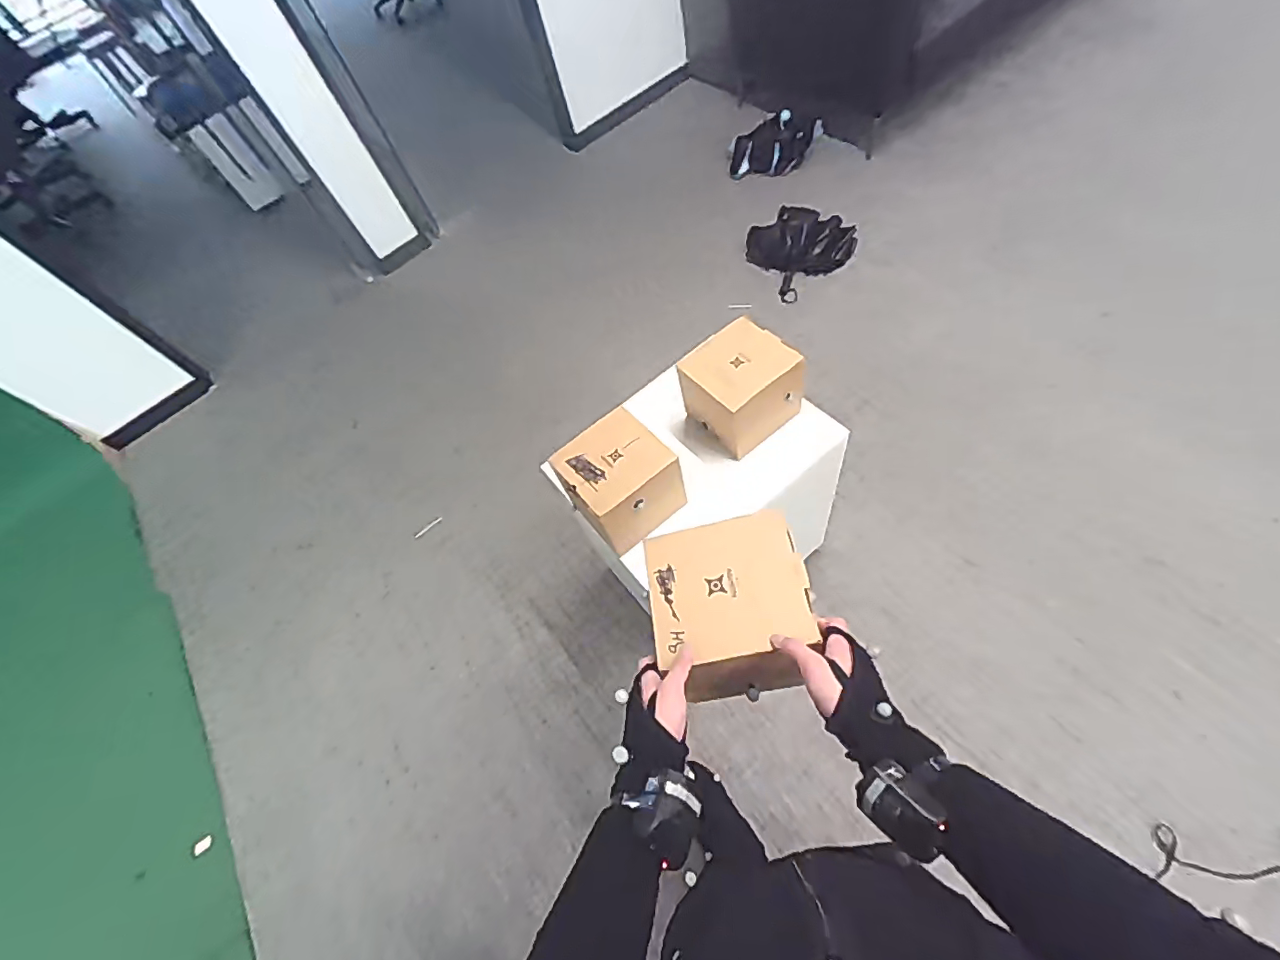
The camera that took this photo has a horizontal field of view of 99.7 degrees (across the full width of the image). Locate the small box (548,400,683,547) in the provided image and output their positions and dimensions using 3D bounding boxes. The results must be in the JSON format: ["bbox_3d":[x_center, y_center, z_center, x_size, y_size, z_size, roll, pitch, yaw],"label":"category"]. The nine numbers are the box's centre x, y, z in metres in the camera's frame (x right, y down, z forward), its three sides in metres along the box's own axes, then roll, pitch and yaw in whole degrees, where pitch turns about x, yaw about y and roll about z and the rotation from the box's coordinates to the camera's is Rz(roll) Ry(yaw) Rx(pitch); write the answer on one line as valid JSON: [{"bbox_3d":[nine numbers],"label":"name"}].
[{"bbox_3d":[-0.036,-0.006,0.995,0.179,0.176,0.168,-37,61,-13],"label":"small box"}]

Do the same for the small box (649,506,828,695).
[{"bbox_3d":[0.117,0.156,0.668,0.179,0.176,0.168,-12,55,8],"label":"small box"}]

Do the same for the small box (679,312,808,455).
[{"bbox_3d":[0.198,-0.184,1.054,0.179,0.176,0.168,-37,60,-9],"label":"small box"}]
